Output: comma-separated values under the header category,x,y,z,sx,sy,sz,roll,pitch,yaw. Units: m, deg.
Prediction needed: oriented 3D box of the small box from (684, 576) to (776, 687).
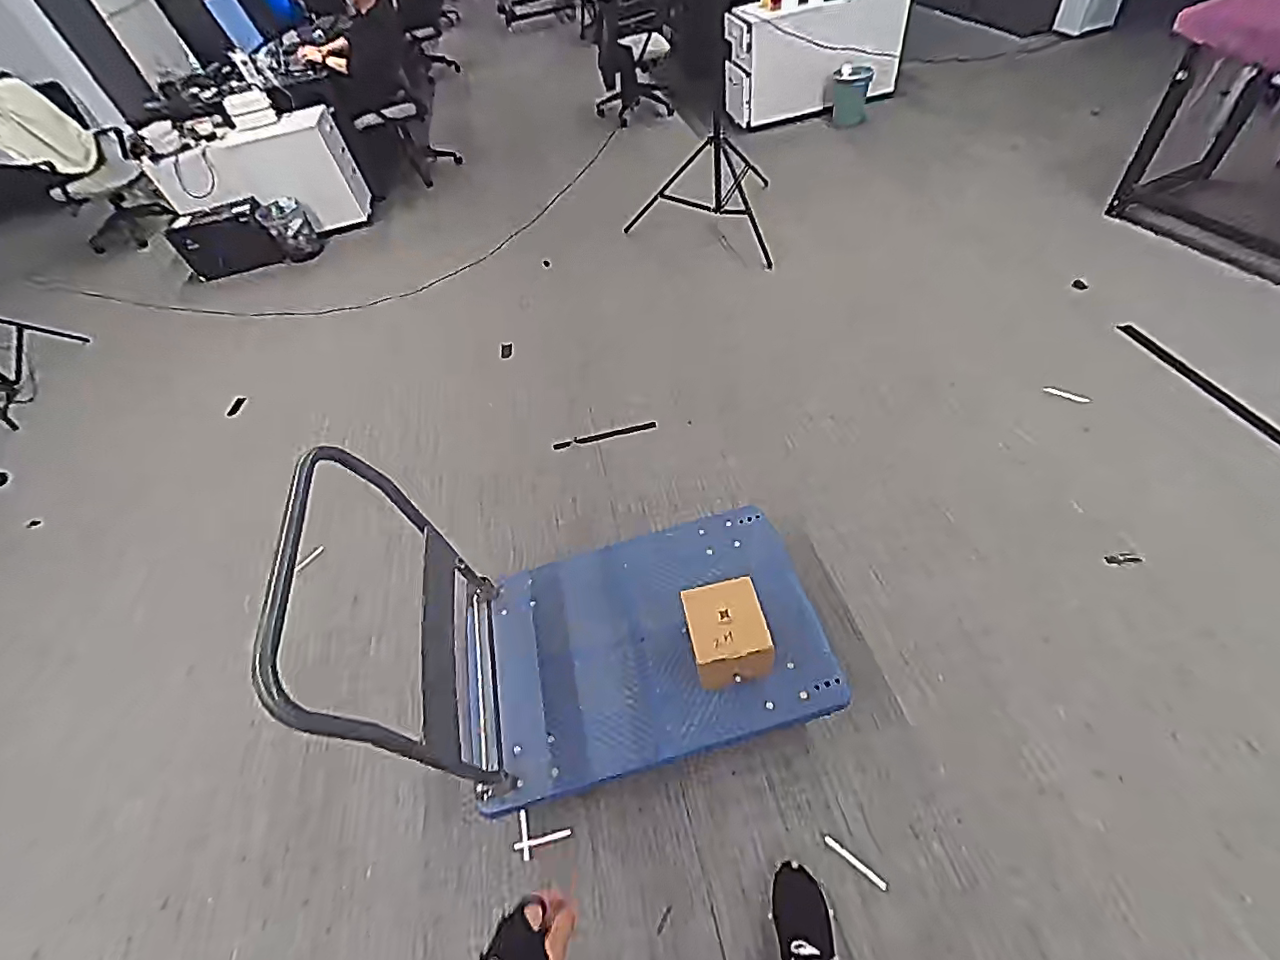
category,x,y,z,sx,sy,sz,roll,pitch,yaw
small box,0.202,0.349,1.241,0.168,0.176,0.179,-13,50,1
